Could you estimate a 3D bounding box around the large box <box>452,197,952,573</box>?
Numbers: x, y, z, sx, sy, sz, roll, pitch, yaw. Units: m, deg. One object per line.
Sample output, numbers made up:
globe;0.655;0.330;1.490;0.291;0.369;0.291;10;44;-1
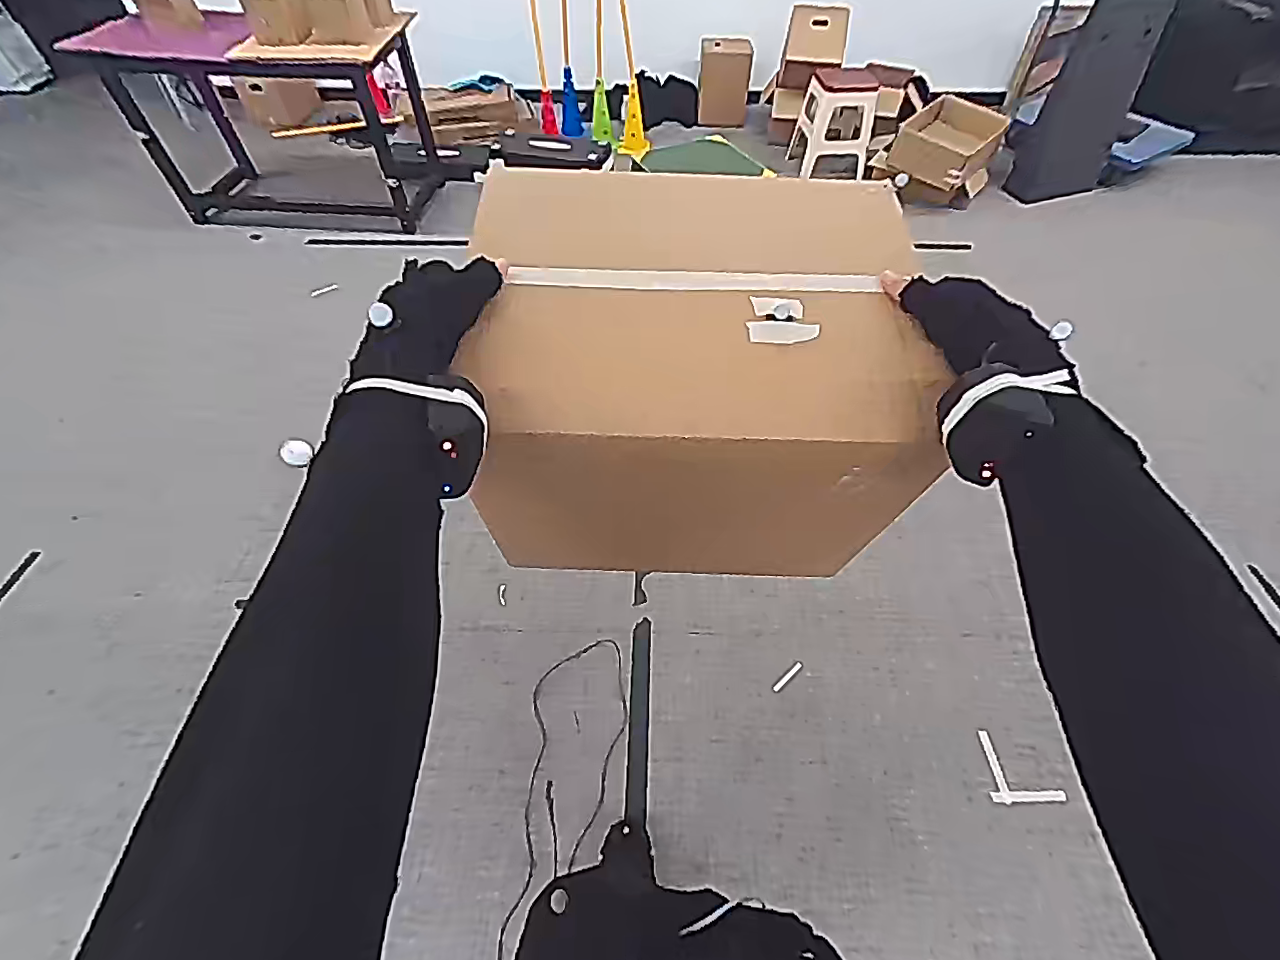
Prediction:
large box;0.045;-0.088;0.623;0.408;0.320;0.320;1;62;-1
